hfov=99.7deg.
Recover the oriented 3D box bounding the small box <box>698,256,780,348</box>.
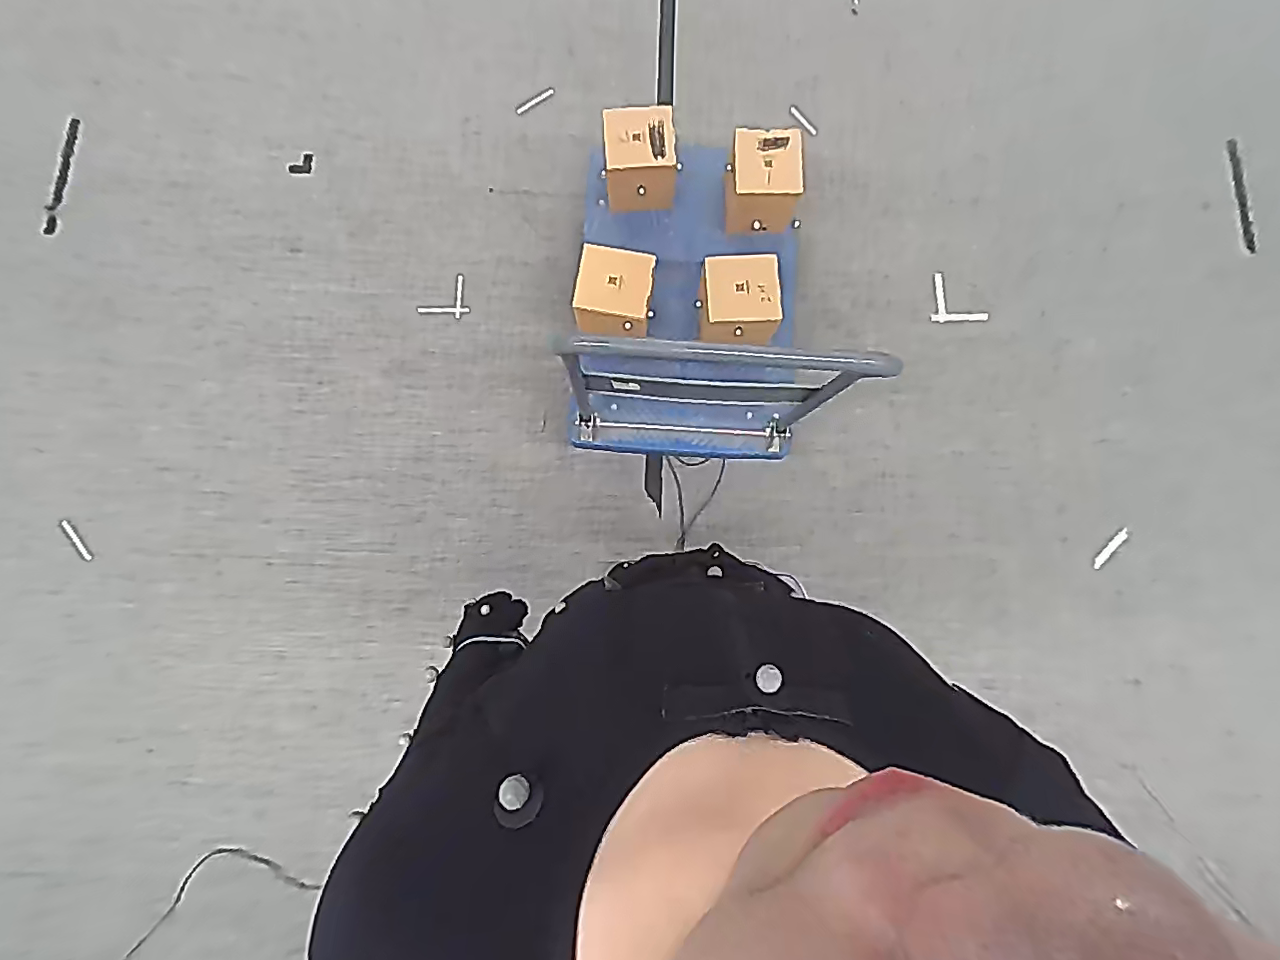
[{"bbox_3d":[0.241,-0.441,1.363,0.179,0.176,0.168,-2,82,-1],"label":"small box"}]

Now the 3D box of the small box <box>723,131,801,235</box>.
[{"bbox_3d":[0.311,-0.770,1.412,0.168,0.176,0.179,0,83,0],"label":"small box"}]

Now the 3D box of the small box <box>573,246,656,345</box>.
[{"bbox_3d":[-0.063,-0.457,1.361,0.179,0.176,0.168,9,81,-1],"label":"small box"}]
